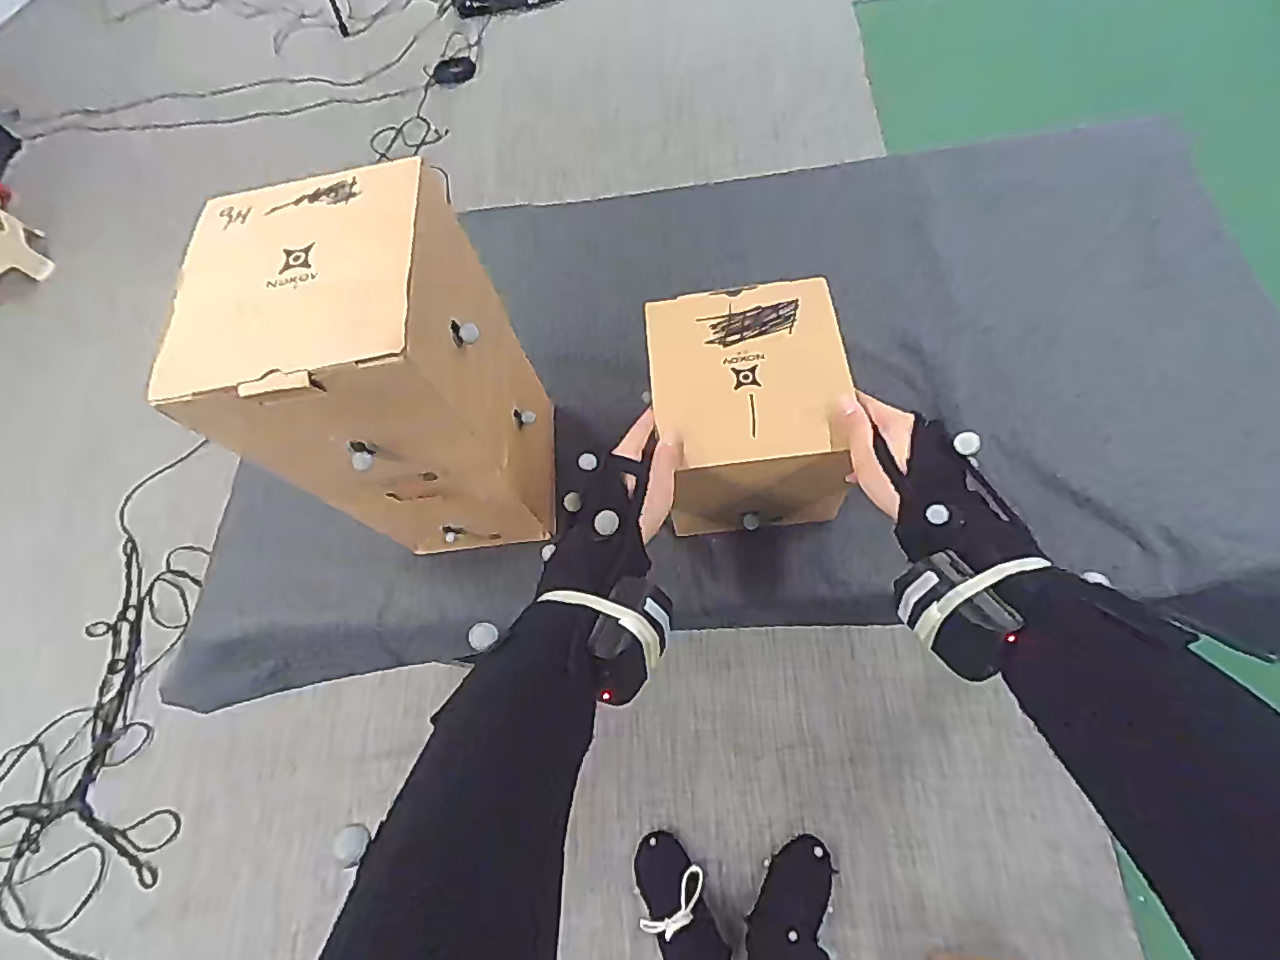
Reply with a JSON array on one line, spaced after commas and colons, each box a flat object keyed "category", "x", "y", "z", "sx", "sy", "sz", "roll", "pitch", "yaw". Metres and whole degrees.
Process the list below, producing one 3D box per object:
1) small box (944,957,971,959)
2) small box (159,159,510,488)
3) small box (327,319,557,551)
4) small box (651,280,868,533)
[{"category": "small box", "x": 0.592, "y": 0.884, "z": 0.843, "sx": 0.179, "sy": 0.176, "sz": 0.168, "roll": -2, "pitch": 65, "yaw": 10}, {"category": "small box", "x": -0.208, "y": -0.103, "z": 0.424, "sx": 0.168, "sy": 0.176, "sz": 0.179, "roll": -9, "pitch": 66, "yaw": 5}, {"category": "small box", "x": -0.190, "y": -0.039, "z": 0.574, "sx": 0.168, "sy": 0.176, "sz": 0.179, "roll": -8, "pitch": 65, "yaw": 5}, {"category": "small box", "x": 0.105, "y": -0.062, "z": 0.533, "sx": 0.168, "sy": 0.176, "sz": 0.179, "roll": -7, "pitch": 65, "yaw": 7}]
